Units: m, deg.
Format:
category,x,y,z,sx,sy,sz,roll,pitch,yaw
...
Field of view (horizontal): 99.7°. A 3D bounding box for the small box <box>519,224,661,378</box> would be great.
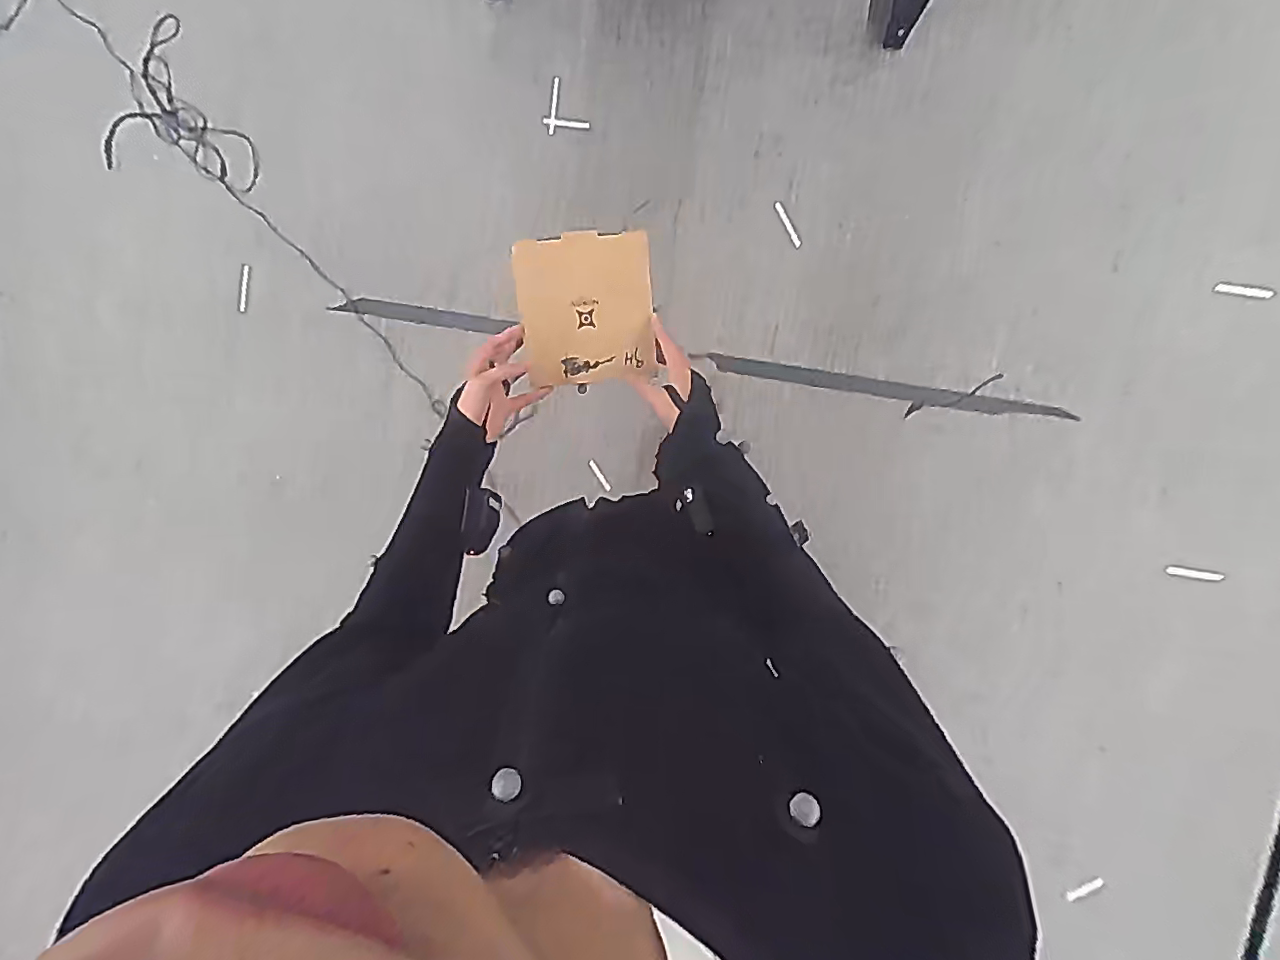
category,x,y,z,sx,sy,sz,roll,pitch,yaw
small box,-0.058,-0.236,0.740,0.168,0.176,0.179,-3,105,3
